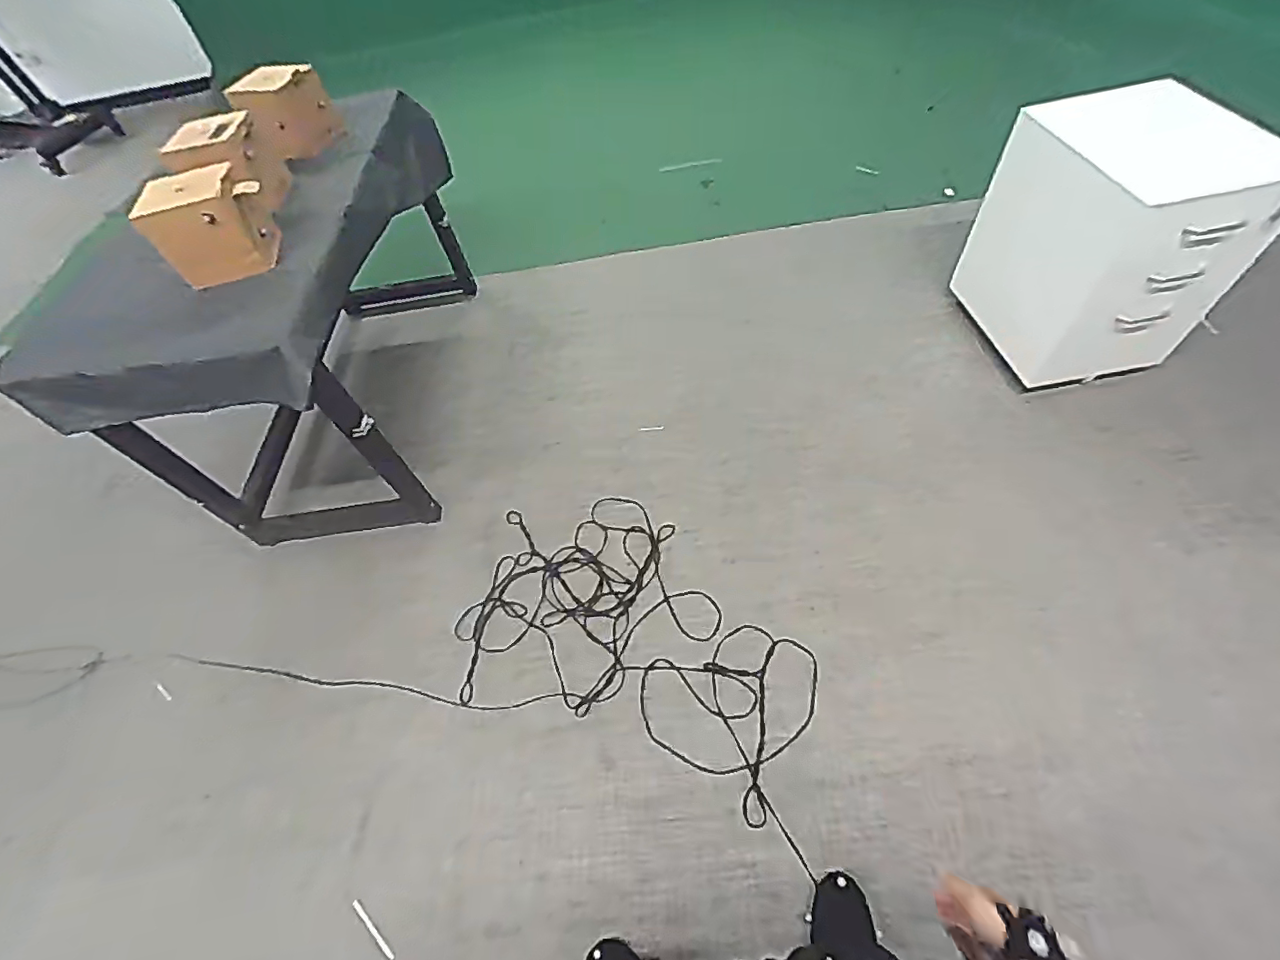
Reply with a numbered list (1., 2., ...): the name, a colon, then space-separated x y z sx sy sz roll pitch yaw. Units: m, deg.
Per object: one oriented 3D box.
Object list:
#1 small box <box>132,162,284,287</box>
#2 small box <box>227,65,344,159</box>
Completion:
1. small box: -0.914 -0.544 1.164 0.179 0.176 0.168 -17 54 -4
2. small box: -0.969 -1.015 1.498 0.179 0.176 0.168 8 56 15
